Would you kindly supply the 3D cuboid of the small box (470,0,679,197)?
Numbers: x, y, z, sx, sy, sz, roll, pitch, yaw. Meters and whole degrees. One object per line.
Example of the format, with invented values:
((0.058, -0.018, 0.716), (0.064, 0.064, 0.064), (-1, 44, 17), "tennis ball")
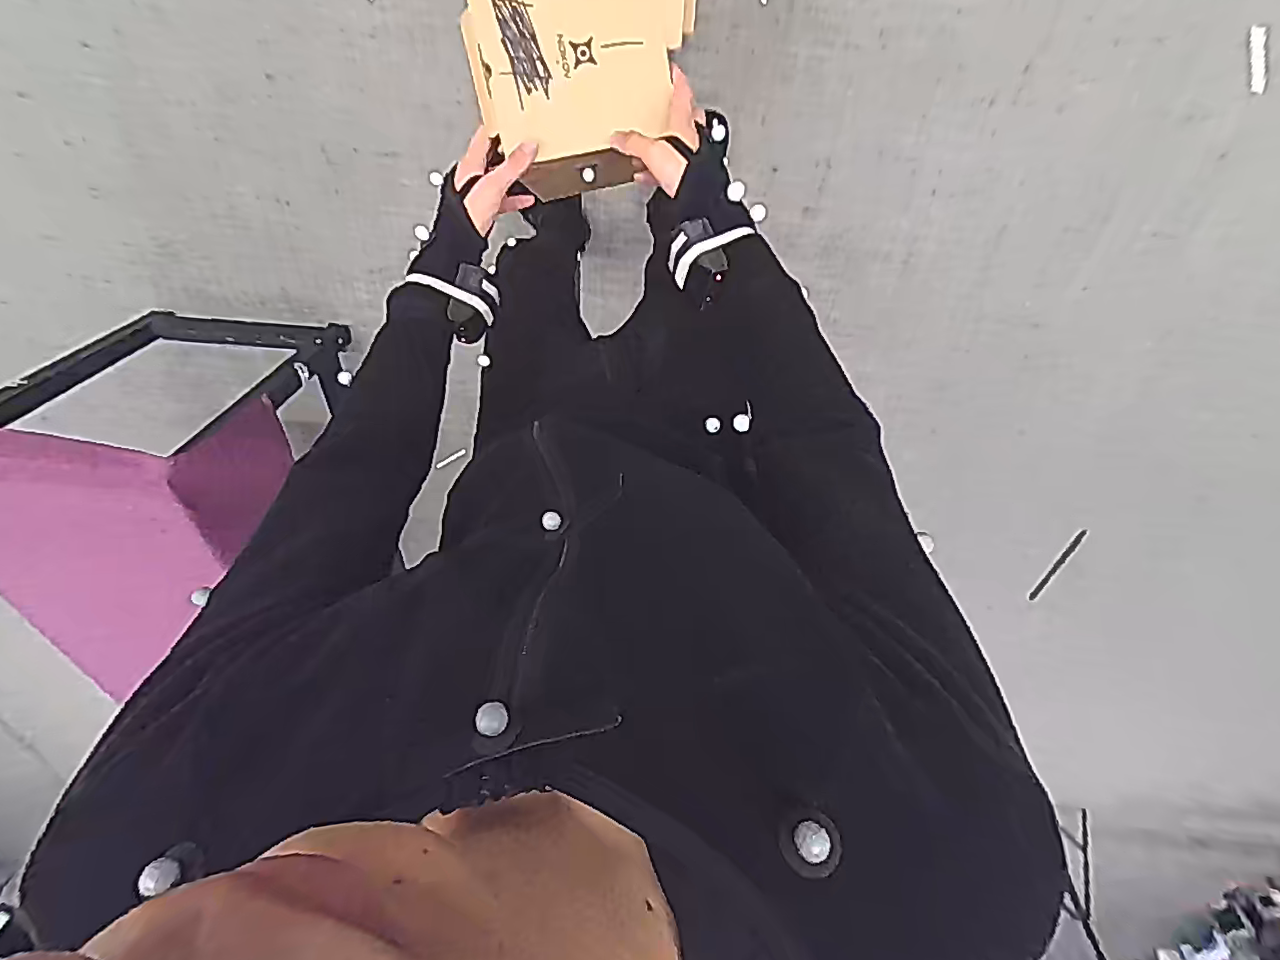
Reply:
((-0.056, -0.423, 0.584), (0.179, 0.176, 0.168), (-10, 108, 5), "small box")

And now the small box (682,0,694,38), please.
((0.020, -0.932, 0.998), (0.168, 0.176, 0.179), (2, 129, 3), "small box")
